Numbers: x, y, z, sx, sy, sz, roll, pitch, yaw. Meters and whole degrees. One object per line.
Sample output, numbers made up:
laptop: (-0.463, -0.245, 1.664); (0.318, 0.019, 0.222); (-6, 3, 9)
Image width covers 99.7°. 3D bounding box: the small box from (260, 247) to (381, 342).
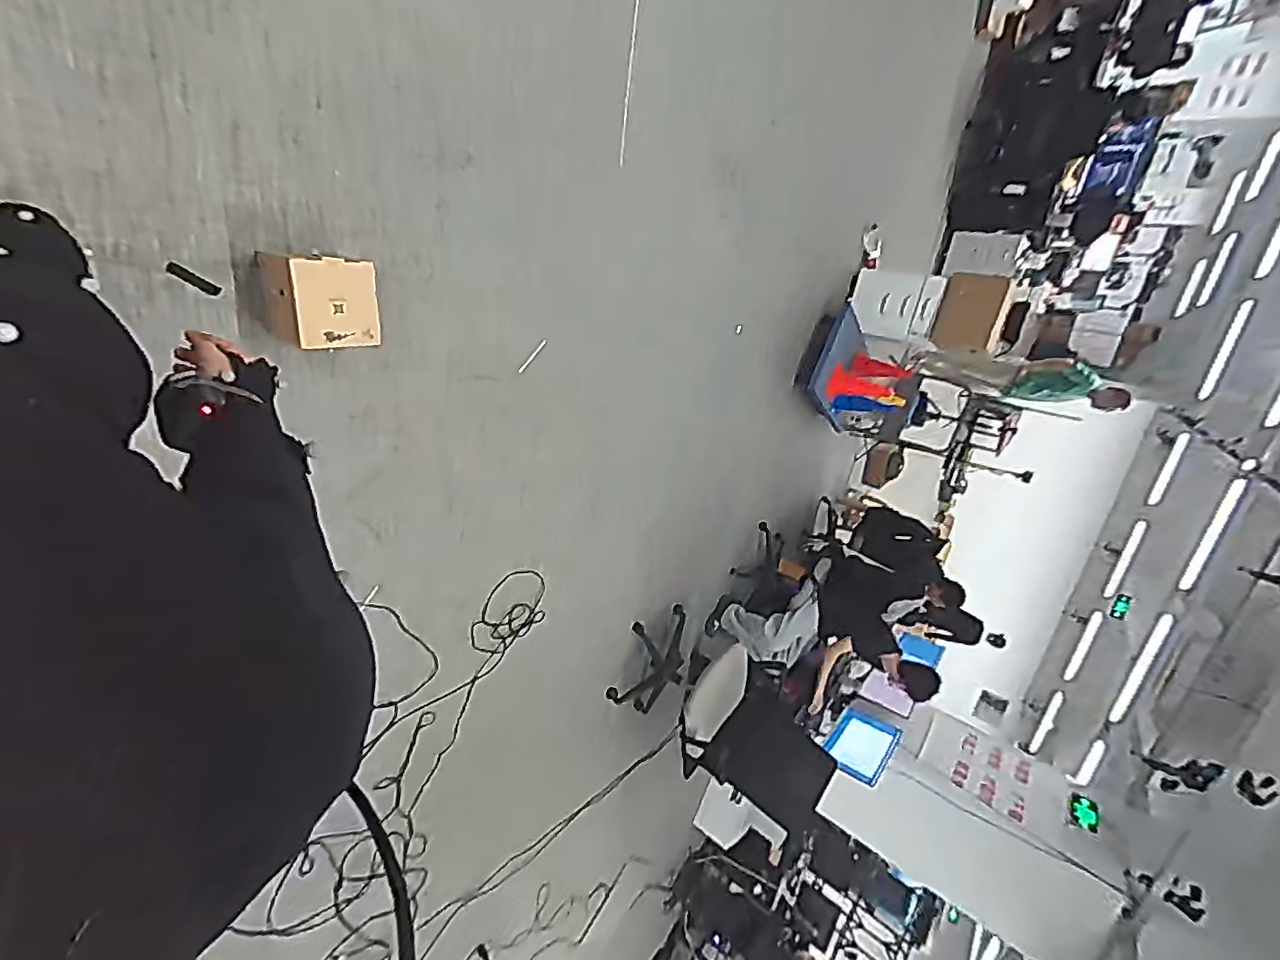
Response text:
small box: (-0.683, -0.400, 1.158); (0.168, 0.176, 0.179); (-21, 124, -47)
